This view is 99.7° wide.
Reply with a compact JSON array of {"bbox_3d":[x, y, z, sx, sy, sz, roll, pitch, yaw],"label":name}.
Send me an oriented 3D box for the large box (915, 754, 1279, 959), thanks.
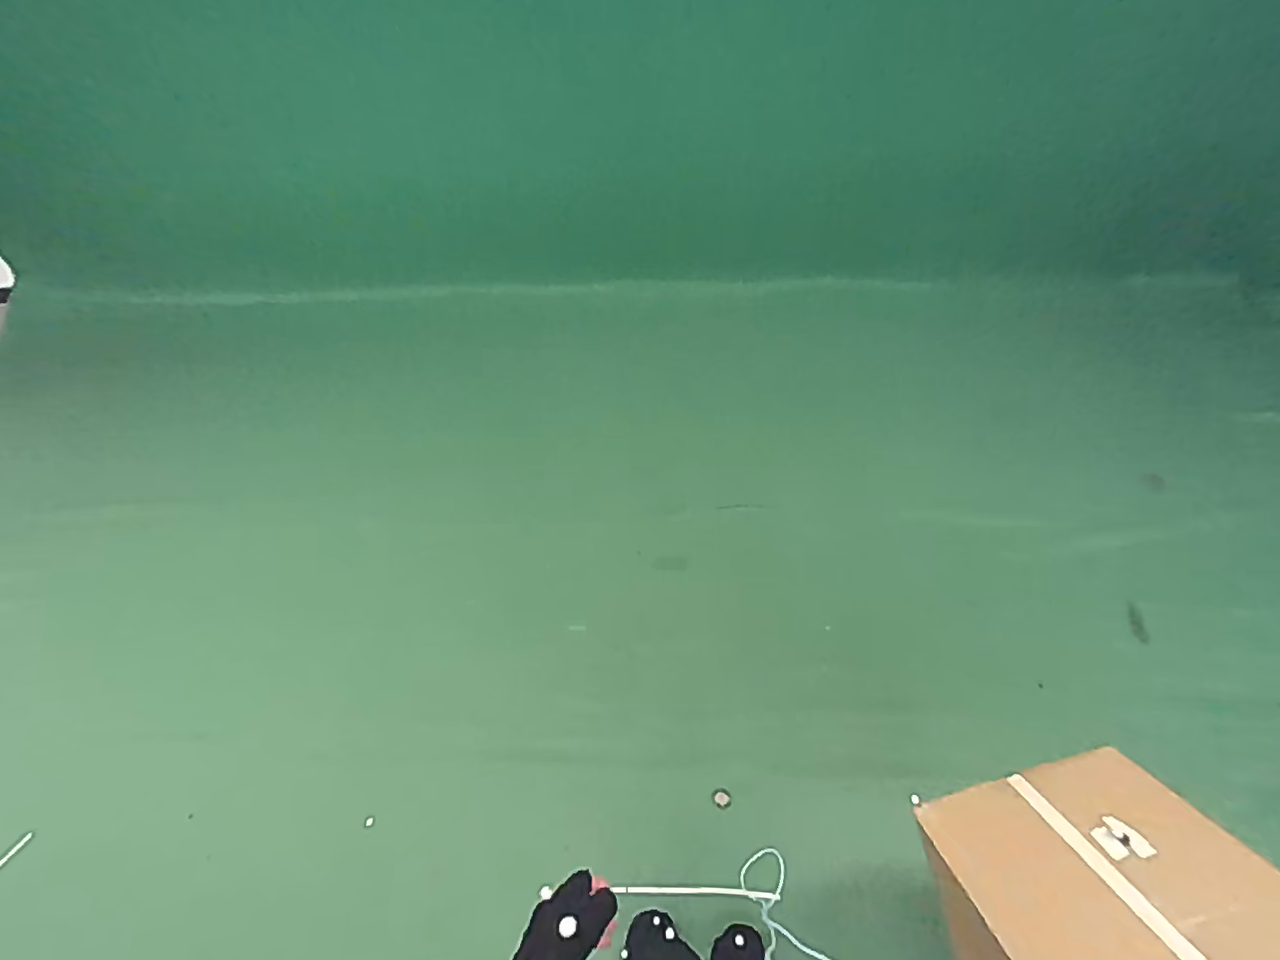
[{"bbox_3d":[0.616,0.632,0.648,0.320,0.320,0.408,-18,9,2],"label":"large box"}]
